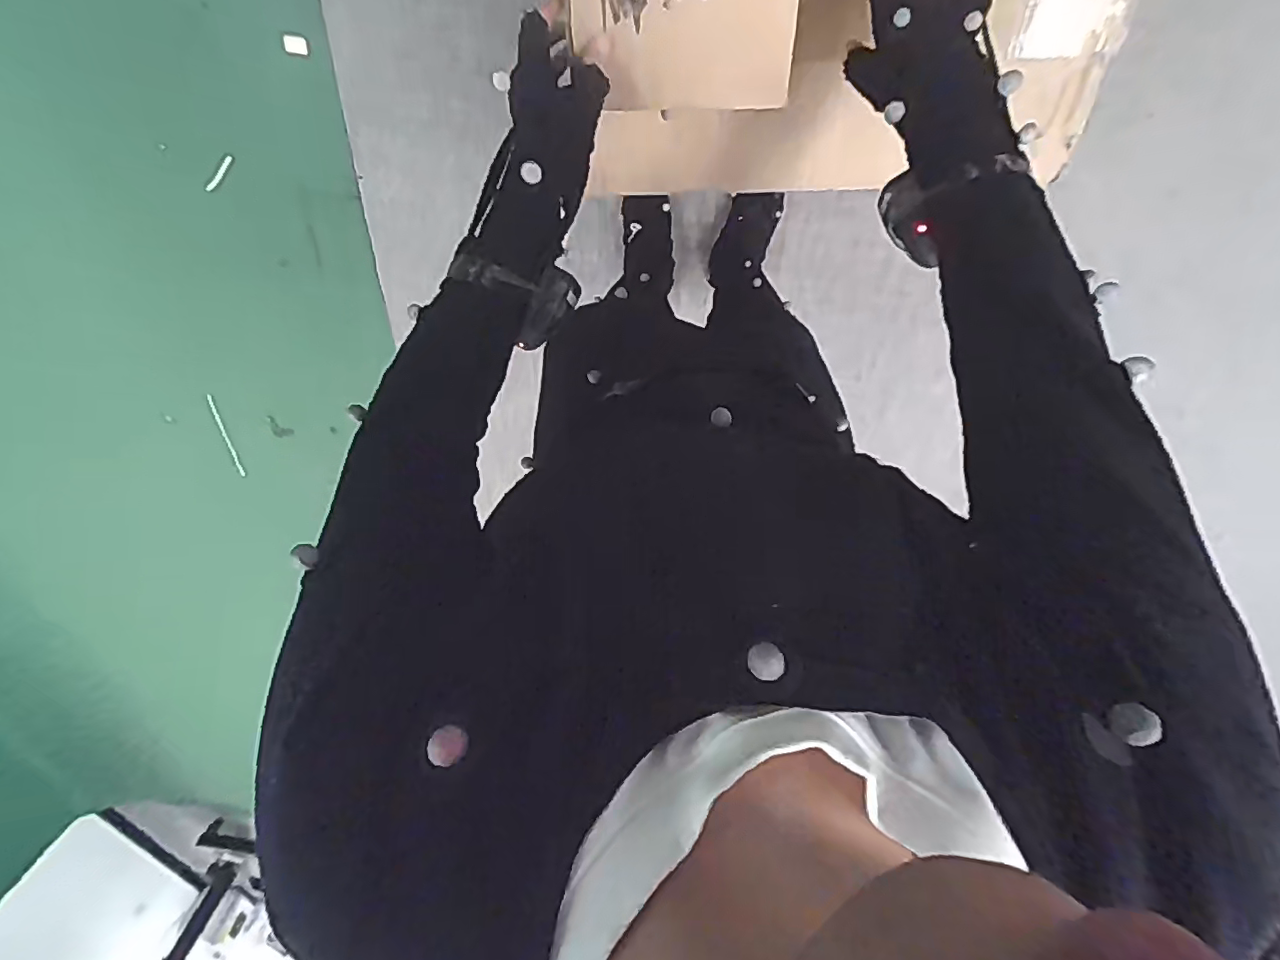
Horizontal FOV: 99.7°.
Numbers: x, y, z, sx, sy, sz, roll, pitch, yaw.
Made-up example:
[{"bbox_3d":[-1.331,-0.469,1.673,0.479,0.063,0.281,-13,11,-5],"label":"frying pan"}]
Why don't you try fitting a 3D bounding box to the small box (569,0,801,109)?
[{"bbox_3d":[0.041,-0.421,0.449,0.179,0.176,0.168,3,134,6],"label":"small box"}]
